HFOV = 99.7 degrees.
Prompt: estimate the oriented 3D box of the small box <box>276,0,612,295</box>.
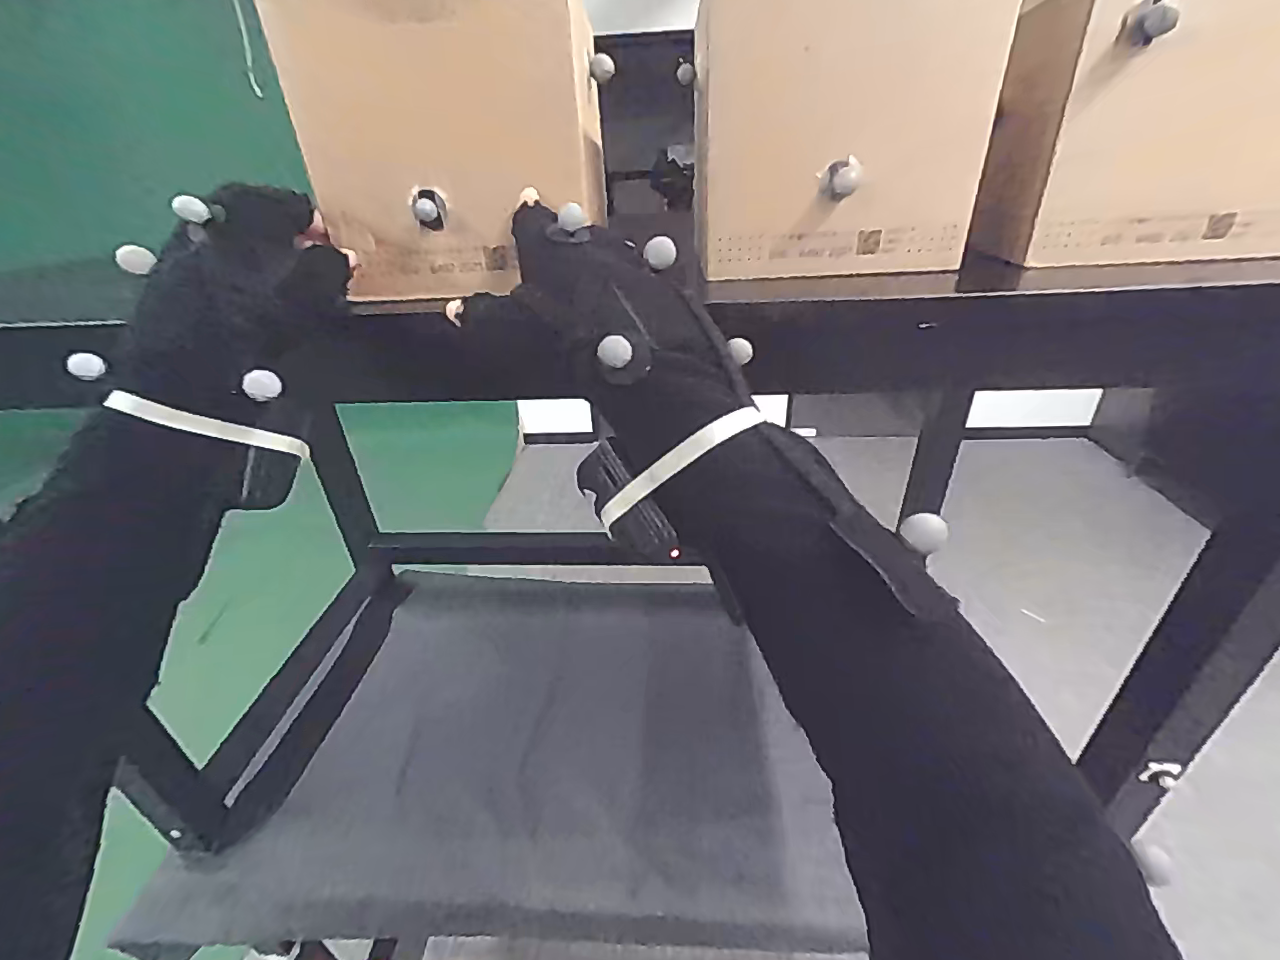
[{"bbox_3d":[-0.111,-0.235,0.389,0.168,0.176,0.179,-3,30,2],"label":"small box"}]
